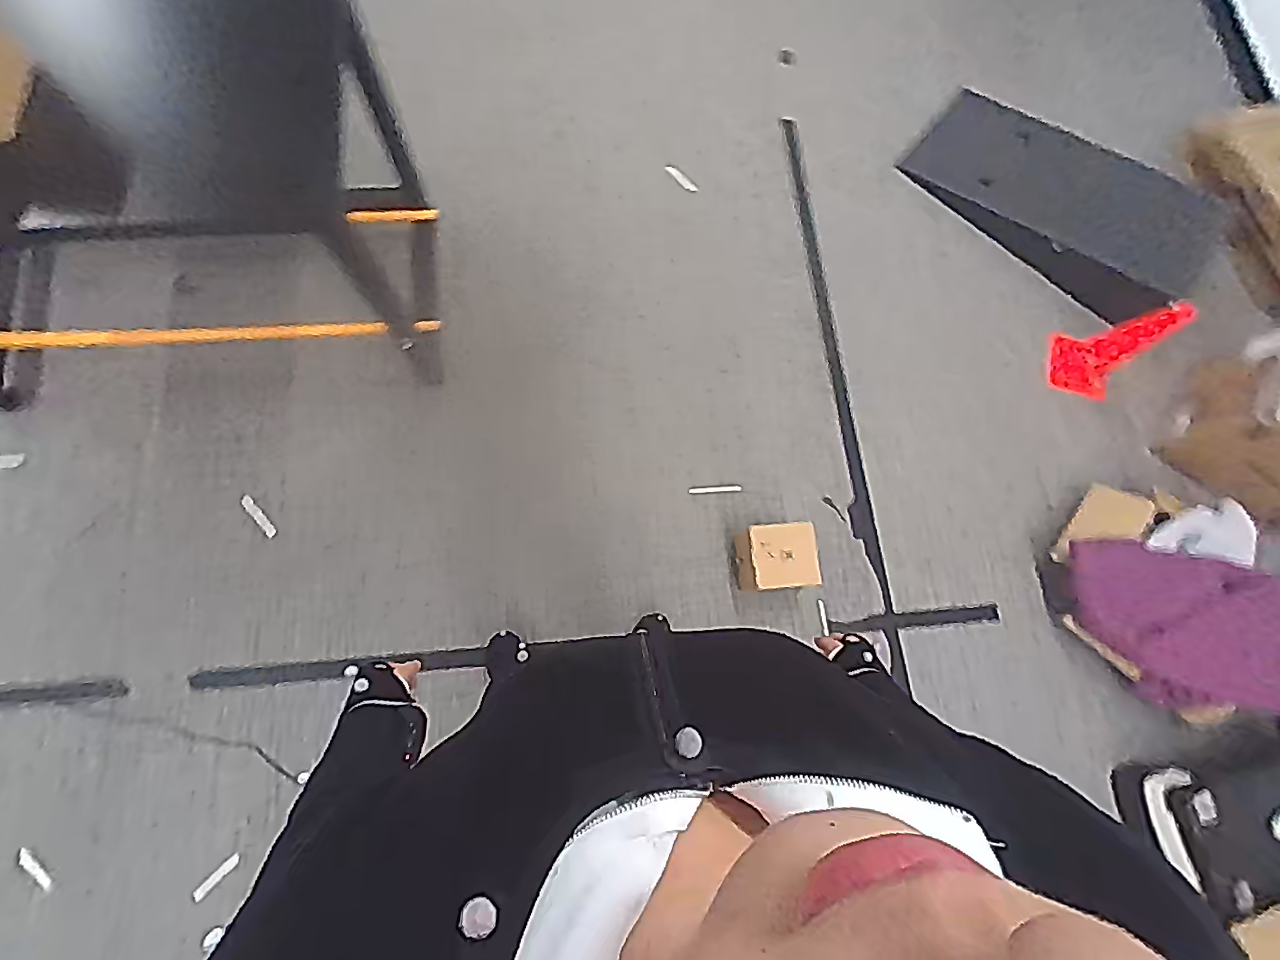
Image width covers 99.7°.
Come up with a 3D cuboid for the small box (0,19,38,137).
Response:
[{"bbox_3d":[-1.078,-0.652,0.809,0.168,0.176,0.179,-1,77,-6],"label":"small box"}]

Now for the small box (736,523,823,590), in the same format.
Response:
[{"bbox_3d":[0.376,0.212,1.484,0.179,0.176,0.168,-3,76,-5],"label":"small box"}]
